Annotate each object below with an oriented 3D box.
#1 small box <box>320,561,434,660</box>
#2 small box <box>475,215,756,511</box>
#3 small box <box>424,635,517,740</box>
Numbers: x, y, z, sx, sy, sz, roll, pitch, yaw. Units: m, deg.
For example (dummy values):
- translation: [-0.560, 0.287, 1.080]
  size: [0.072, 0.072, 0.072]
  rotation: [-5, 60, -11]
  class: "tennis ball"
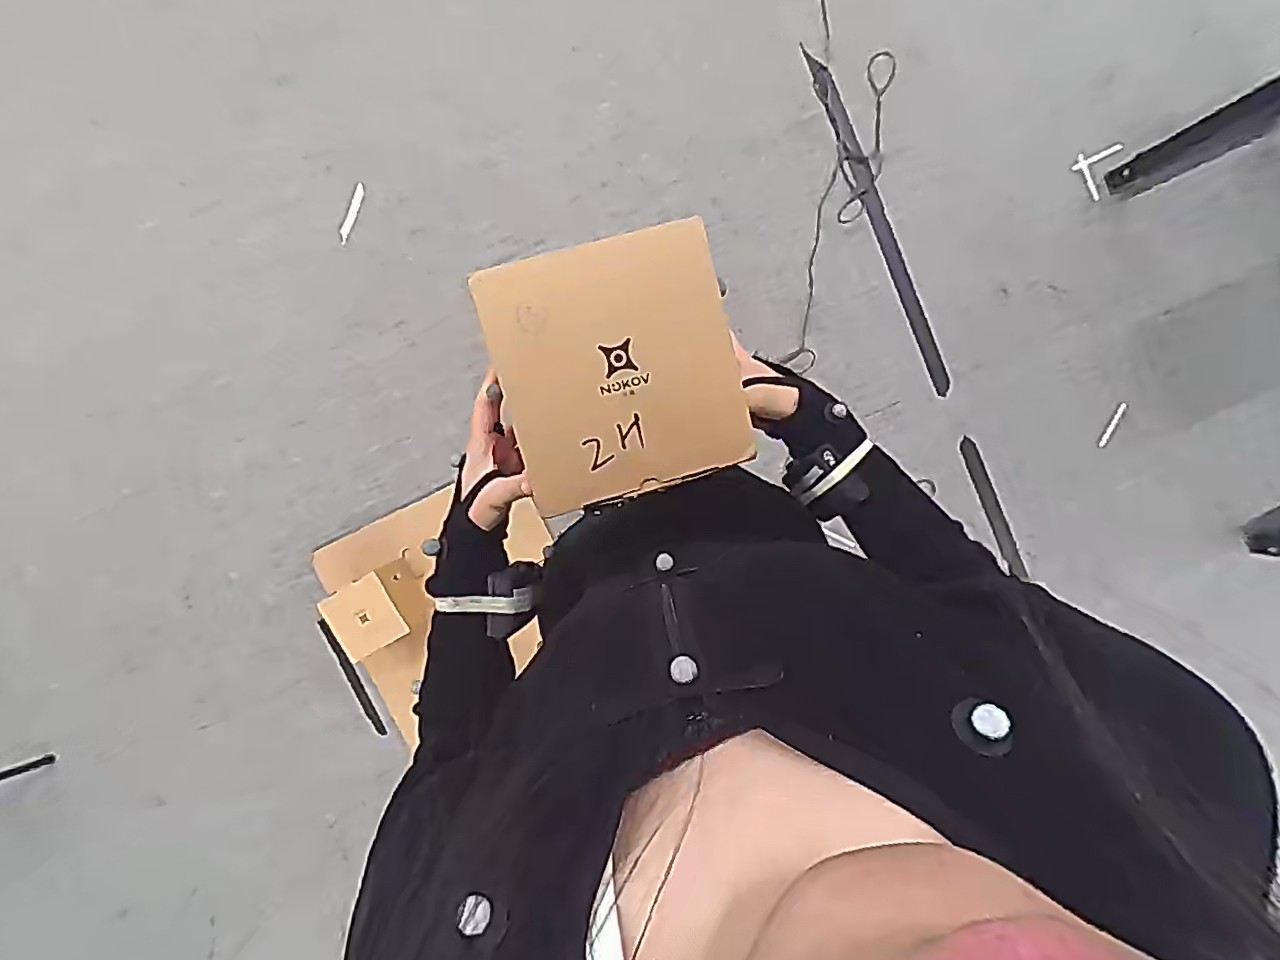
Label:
- translation: [-0.668, 0.324, 1.393]
  size: [0.168, 0.176, 0.179]
  rotation: [-31, 94, 0]
  class: "small box"
- translation: [-0.023, -0.089, 0.453]
  size: [0.168, 0.176, 0.179]
  rotation: [-15, 99, -5]
  class: "small box"
- translation: [-0.432, 0.533, 1.412]
  size: [0.168, 0.176, 0.179]
  rotation: [-17, 95, -2]
  class: "small box"
